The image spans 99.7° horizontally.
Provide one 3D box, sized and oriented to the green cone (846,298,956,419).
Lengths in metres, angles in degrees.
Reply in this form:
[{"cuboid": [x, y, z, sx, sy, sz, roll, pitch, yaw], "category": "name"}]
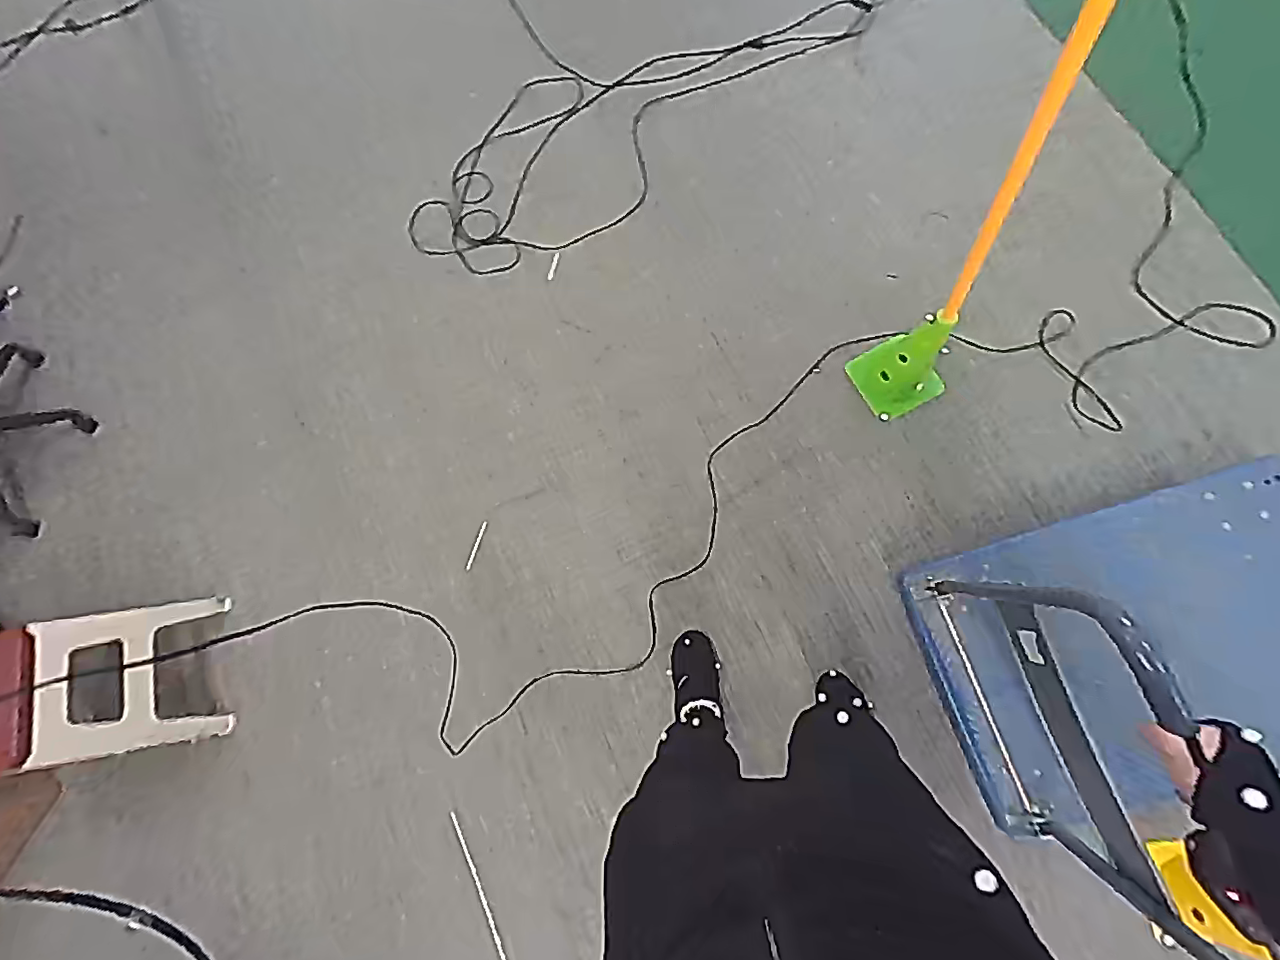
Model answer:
[{"cuboid": [0.670, -0.323, 1.301, 0.200, 0.368, 0.202, -29, 76, 0], "category": "green cone"}]
